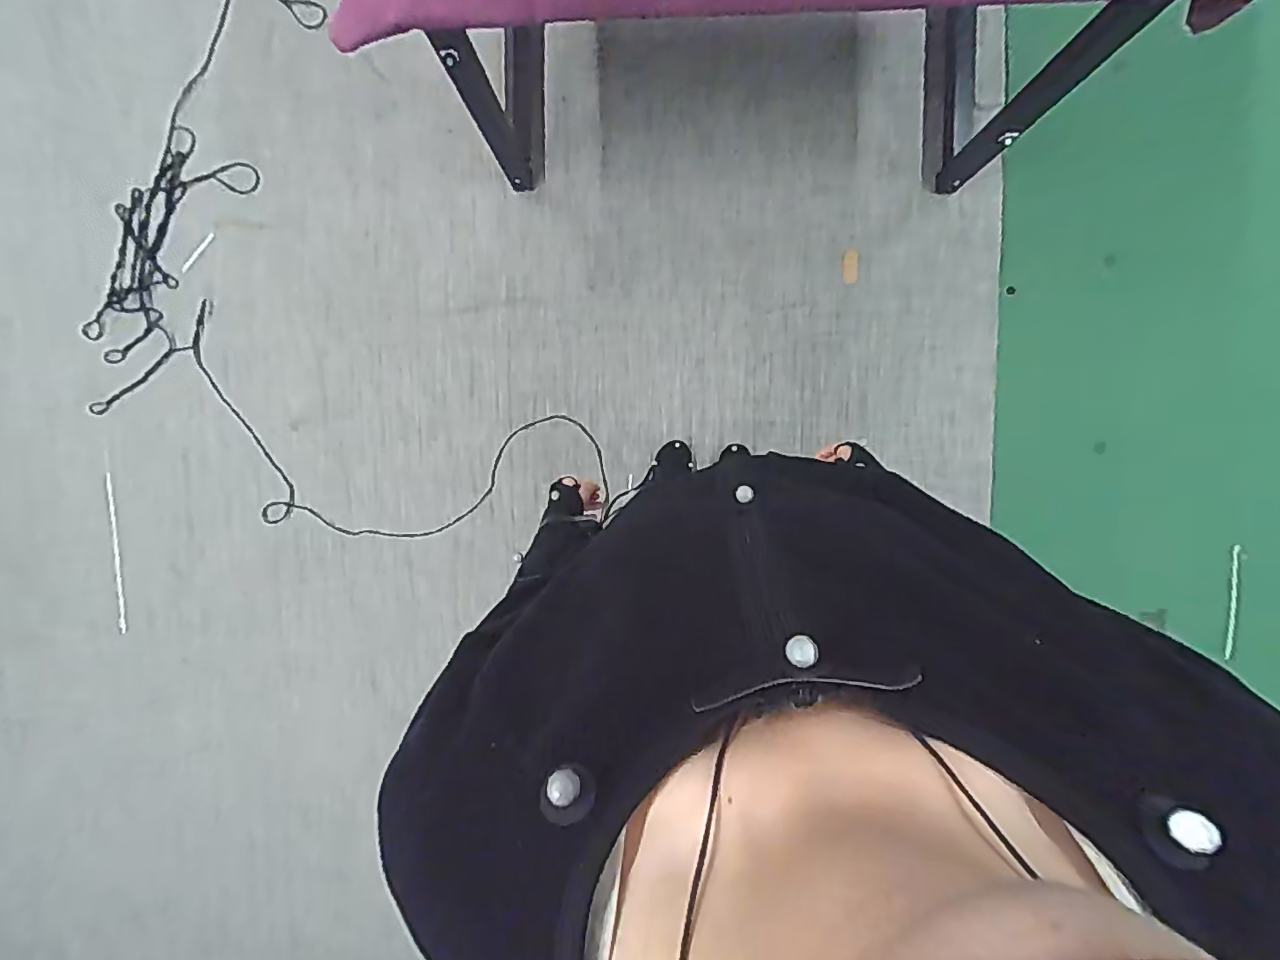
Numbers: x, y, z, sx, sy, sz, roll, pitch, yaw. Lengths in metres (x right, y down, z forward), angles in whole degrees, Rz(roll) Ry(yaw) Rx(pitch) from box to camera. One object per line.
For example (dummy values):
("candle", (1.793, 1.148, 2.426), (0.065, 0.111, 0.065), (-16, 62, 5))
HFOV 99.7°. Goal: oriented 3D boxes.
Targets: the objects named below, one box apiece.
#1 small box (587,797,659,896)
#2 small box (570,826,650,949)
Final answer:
("small box", (-0.047, 0.983, 1.452), (0.179, 0.176, 0.168), (-9, 92, 3))
("small box", (-0.066, 0.968, 1.288), (0.168, 0.176, 0.179), (-5, 92, 2))
